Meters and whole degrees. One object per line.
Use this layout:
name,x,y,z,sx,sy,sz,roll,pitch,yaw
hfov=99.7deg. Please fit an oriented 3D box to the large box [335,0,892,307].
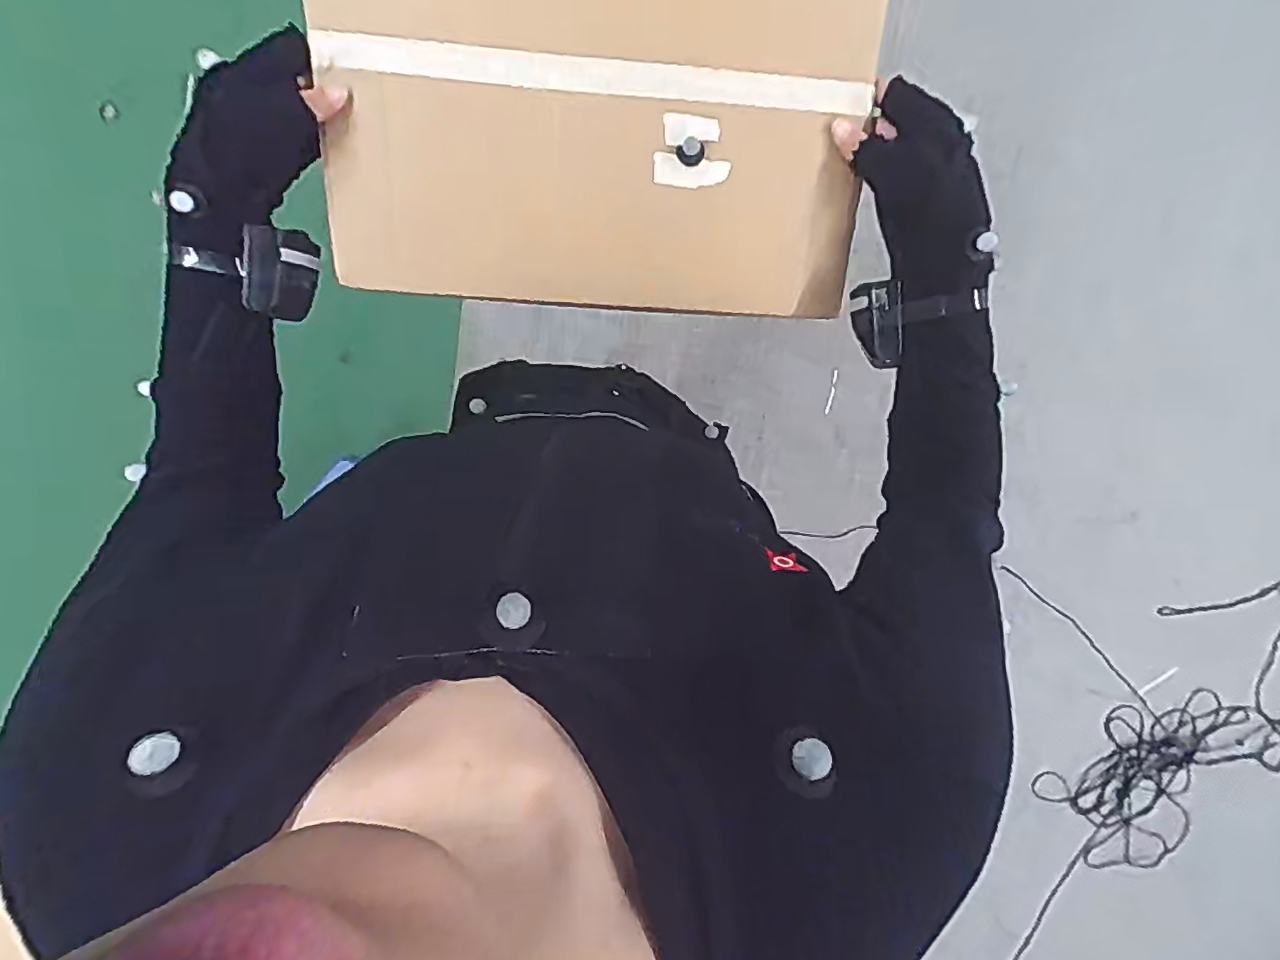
large box,-0.030,-0.345,0.539,0.408,0.320,0.320,2,108,-6
